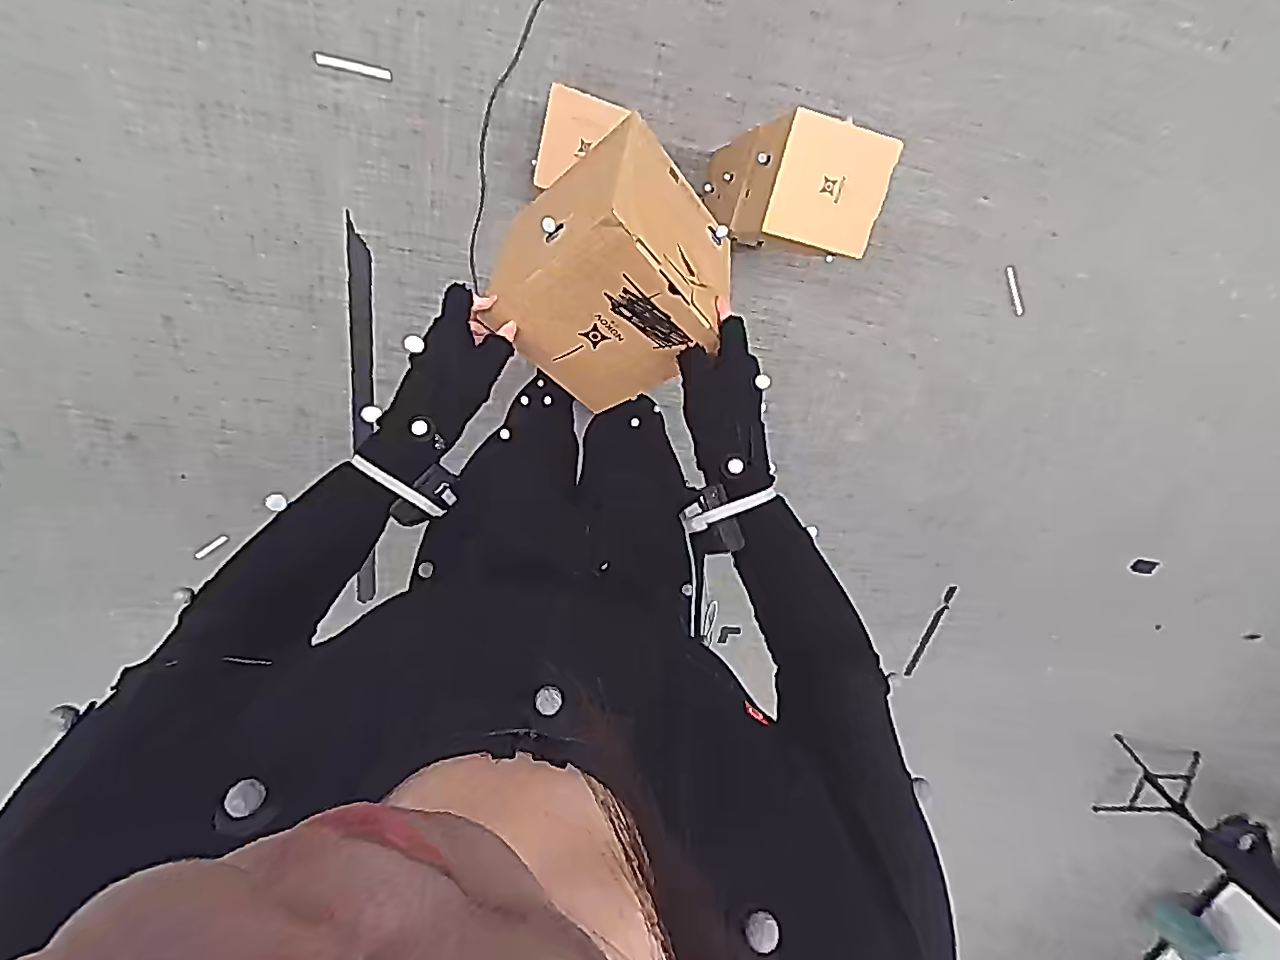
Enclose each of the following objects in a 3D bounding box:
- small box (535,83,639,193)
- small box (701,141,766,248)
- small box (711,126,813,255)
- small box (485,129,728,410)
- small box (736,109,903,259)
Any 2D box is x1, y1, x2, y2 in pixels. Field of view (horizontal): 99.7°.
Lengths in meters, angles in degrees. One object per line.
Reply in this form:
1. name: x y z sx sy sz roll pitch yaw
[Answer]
1. small box: -0.111 -0.658 1.096 0.168 0.176 0.179 12 113 -14
2. small box: 0.241 -0.605 1.167 0.179 0.176 0.168 10 114 -12
3. small box: 0.251 -0.534 1.018 0.179 0.176 0.168 11 114 -13
4. small box: -0.026 -0.209 0.557 0.179 0.176 0.168 -22 137 36
5. small box: 0.273 -0.465 0.872 0.179 0.176 0.168 9 113 -12
